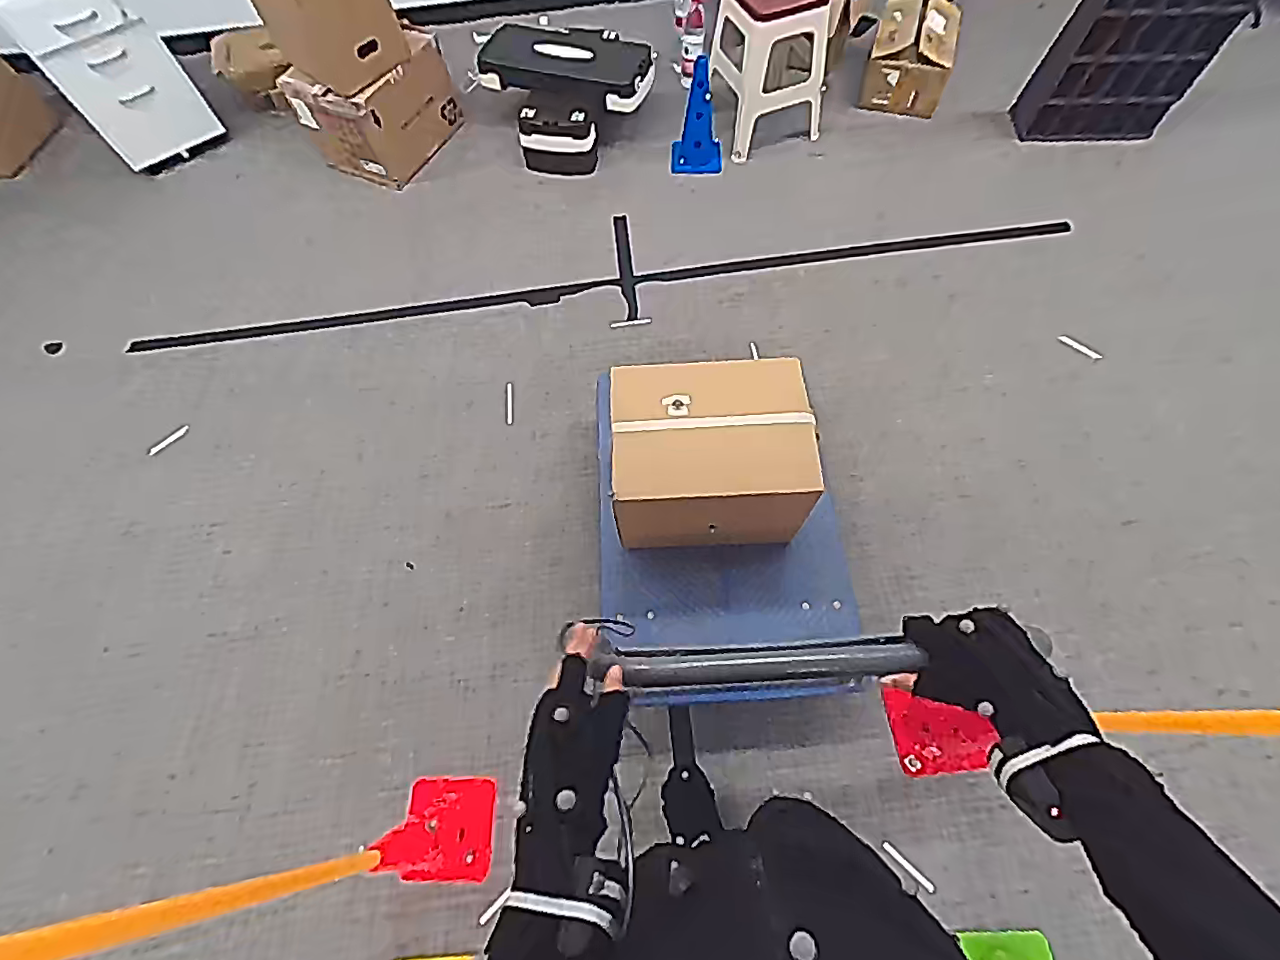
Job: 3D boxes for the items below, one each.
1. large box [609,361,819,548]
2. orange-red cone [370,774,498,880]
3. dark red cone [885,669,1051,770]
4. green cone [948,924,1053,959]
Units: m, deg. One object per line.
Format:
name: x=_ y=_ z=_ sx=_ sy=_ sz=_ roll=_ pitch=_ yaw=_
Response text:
large box: x=0.148 y=-0.042 z=1.229 sx=0.408 sy=0.320 sz=0.320 roll=-3 pitch=65 yaw=2
orange-red cone: x=-0.431 y=0.699 z=1.063 sx=0.198 sy=0.360 sz=0.199 roll=0 pitch=63 yaw=2
dark red cone: x=0.680 y=0.476 z=1.092 sx=0.201 sy=0.394 sz=0.202 roll=-6 pitch=65 yaw=-2
green cone: x=0.715 y=0.919 z=0.896 sx=0.202 sy=0.368 sz=0.200 roll=-3 pitch=64 yaw=0
